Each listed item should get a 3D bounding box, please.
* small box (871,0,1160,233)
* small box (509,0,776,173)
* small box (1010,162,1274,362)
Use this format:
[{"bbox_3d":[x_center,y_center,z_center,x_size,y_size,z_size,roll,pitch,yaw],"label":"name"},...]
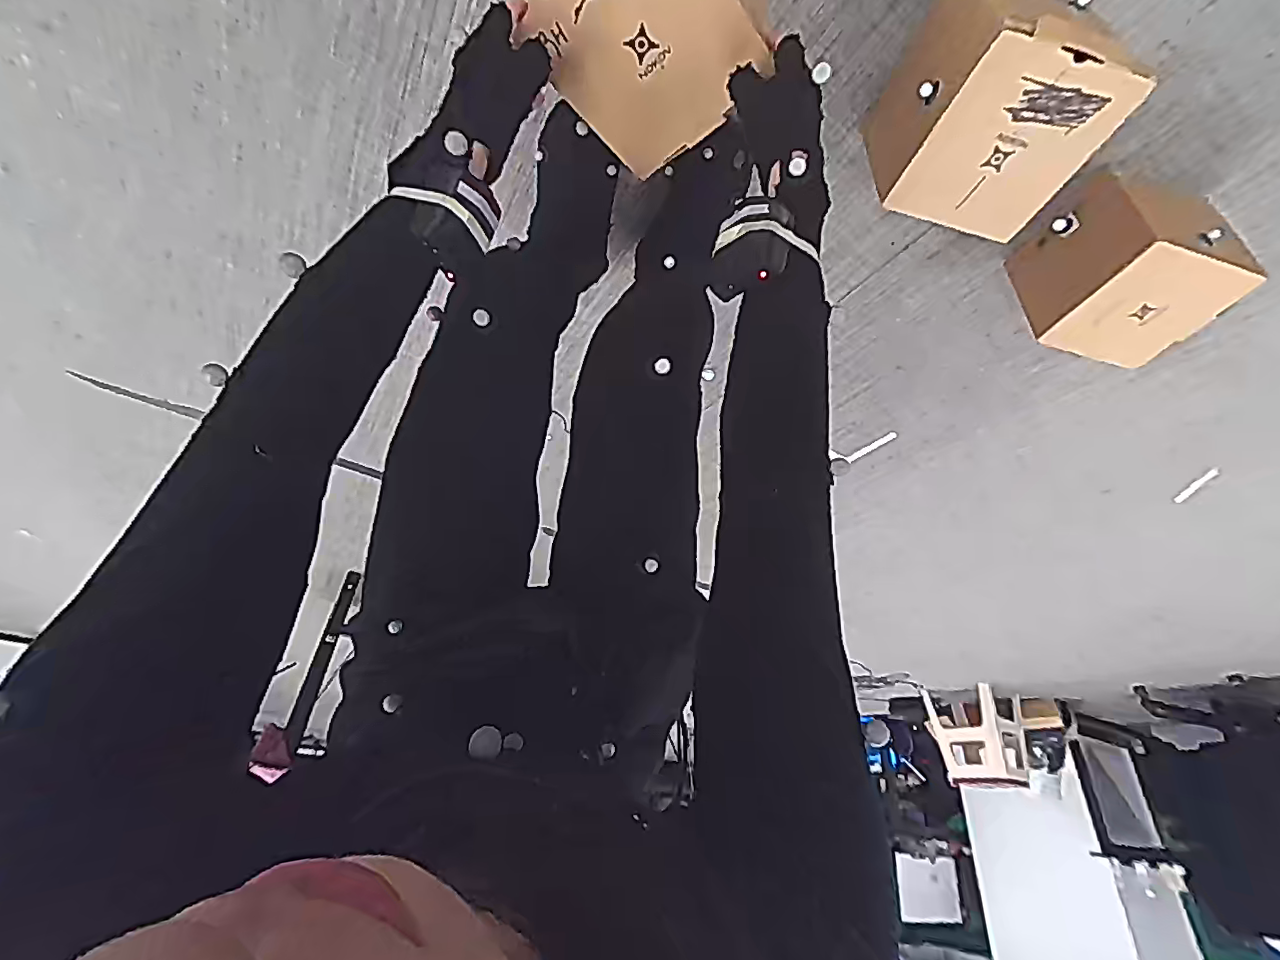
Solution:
[{"bbox_3d":[0.372,-0.409,0.579,0.168,0.176,0.179,11,148,-9],"label":"small box"},{"bbox_3d":[0.007,-0.445,0.500,0.168,0.176,0.179,-21,145,36],"label":"small box"},{"bbox_3d":[0.654,-0.292,0.729,0.179,0.176,0.168,12,147,-9],"label":"small box"}]
